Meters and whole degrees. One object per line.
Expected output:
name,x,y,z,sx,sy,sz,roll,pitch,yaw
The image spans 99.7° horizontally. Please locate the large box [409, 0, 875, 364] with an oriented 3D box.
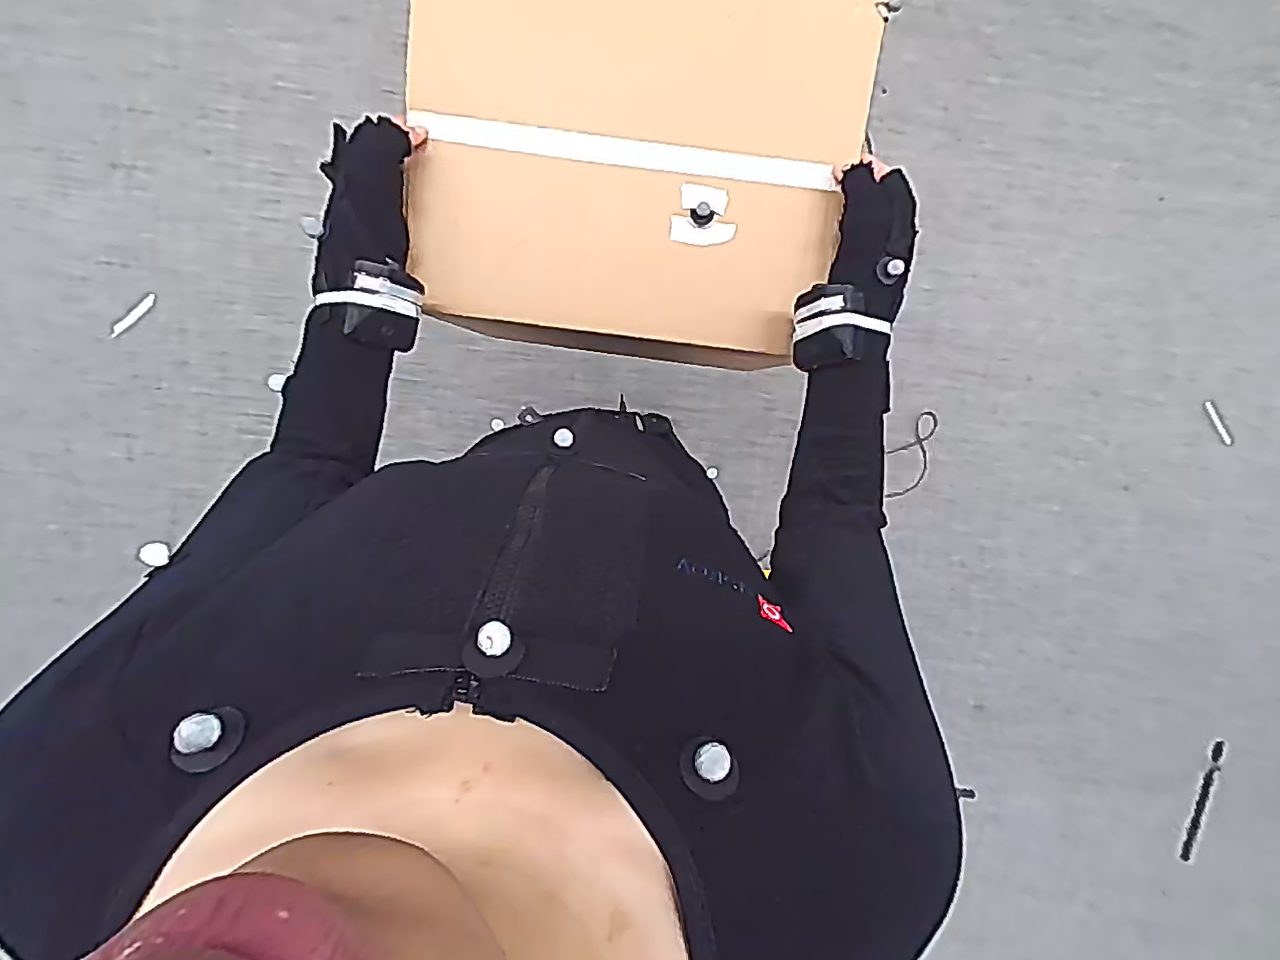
large box,-0.010,-0.319,0.635,0.408,0.320,0.320,6,100,-3
